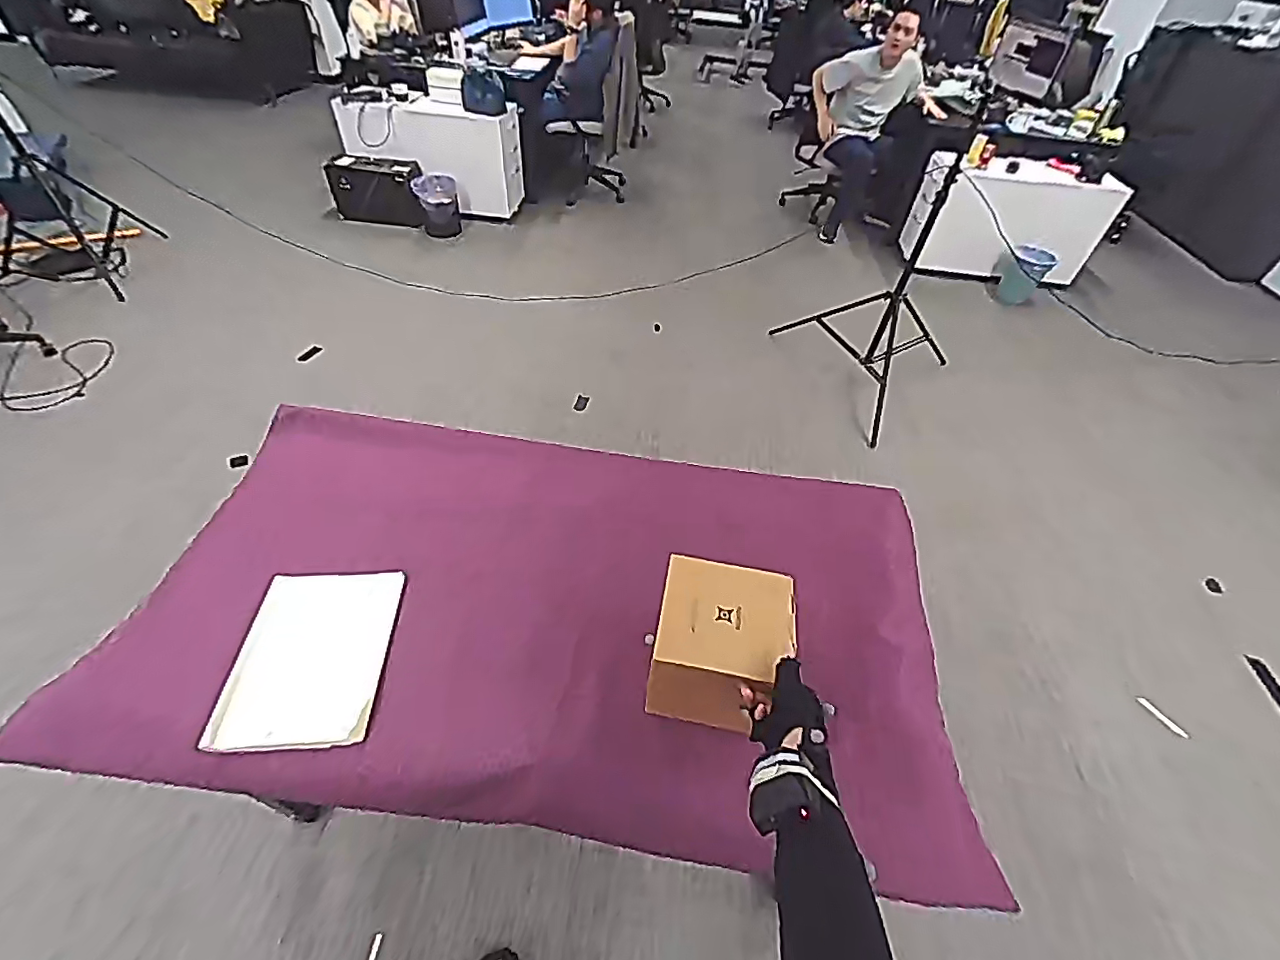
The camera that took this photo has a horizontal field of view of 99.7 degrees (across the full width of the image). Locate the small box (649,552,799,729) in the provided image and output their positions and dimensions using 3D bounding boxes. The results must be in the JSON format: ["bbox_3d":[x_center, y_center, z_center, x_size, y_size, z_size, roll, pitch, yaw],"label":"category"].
[{"bbox_3d":[0.114,0.229,0.761,0.179,0.176,0.168,9,44,6],"label":"small box"}]
